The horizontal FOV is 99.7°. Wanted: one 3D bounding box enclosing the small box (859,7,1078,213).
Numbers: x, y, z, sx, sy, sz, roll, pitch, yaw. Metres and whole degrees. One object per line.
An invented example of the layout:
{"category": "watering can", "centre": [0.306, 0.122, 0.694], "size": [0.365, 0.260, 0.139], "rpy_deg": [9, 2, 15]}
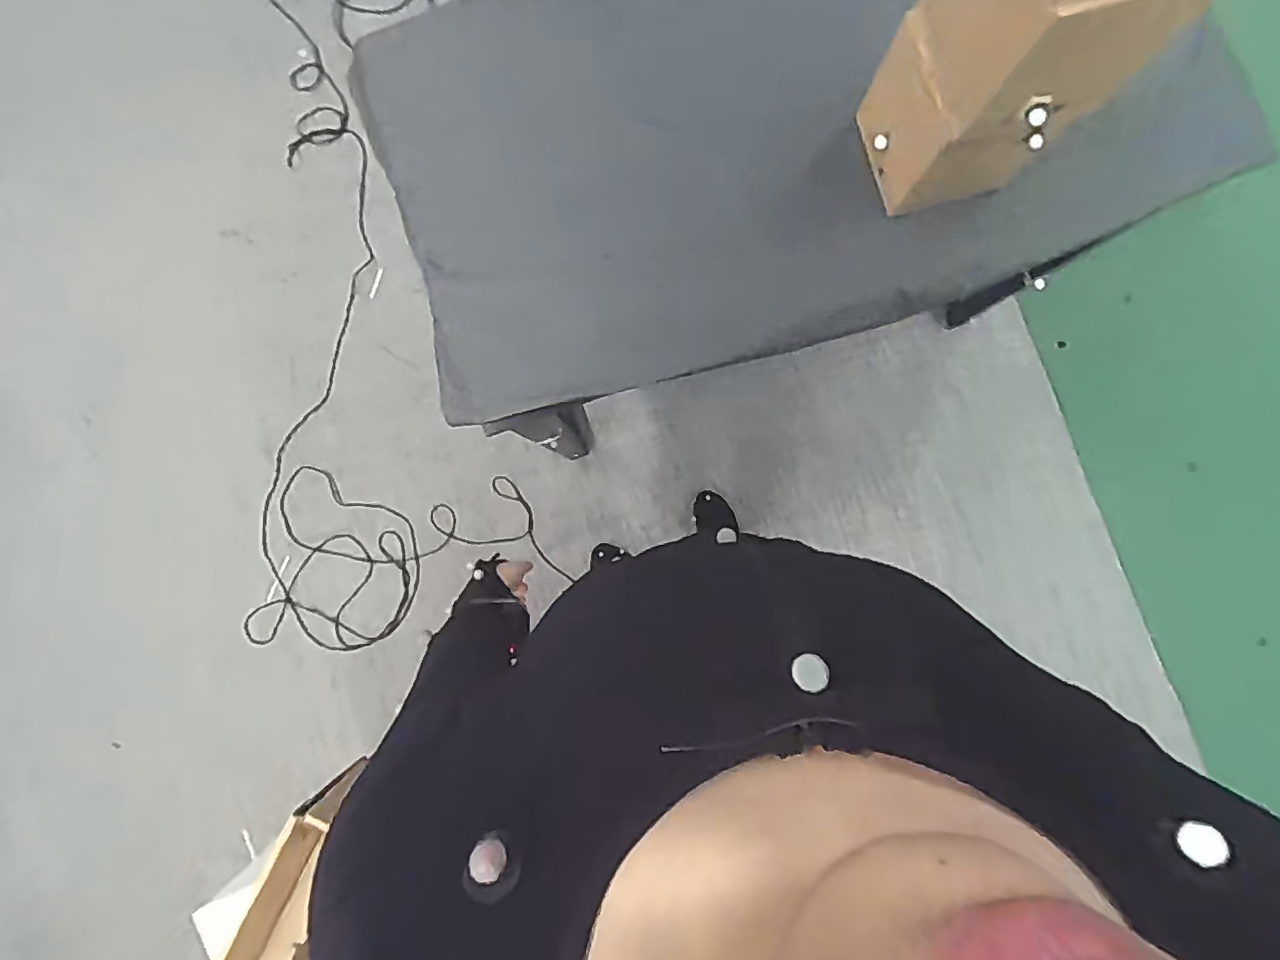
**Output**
{"category": "small box", "centre": [0.417, -0.484, 0.701], "size": [0.179, 0.176, 0.168], "rpy_deg": [-16, 86, 2]}

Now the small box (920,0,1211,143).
{"category": "small box", "centre": [0.411, -0.487, 0.539], "size": [0.168, 0.176, 0.179], "rpy_deg": [-14, 87, 3]}
